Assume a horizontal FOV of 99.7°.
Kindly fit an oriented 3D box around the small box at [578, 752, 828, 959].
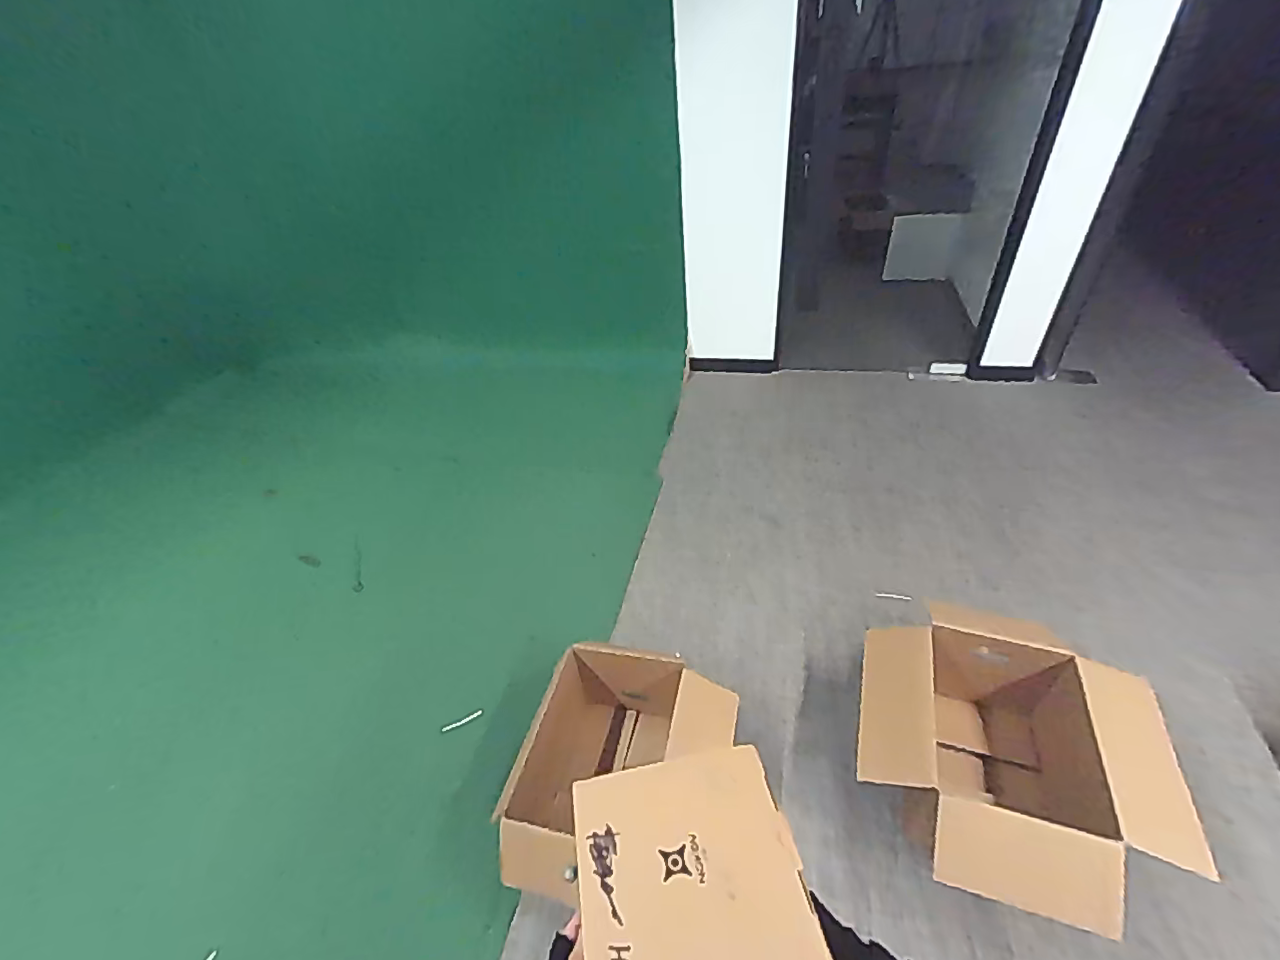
[{"bbox_3d":[0.042,0.378,0.483,0.179,0.176,0.168,-7,34,-5],"label":"small box"}]
